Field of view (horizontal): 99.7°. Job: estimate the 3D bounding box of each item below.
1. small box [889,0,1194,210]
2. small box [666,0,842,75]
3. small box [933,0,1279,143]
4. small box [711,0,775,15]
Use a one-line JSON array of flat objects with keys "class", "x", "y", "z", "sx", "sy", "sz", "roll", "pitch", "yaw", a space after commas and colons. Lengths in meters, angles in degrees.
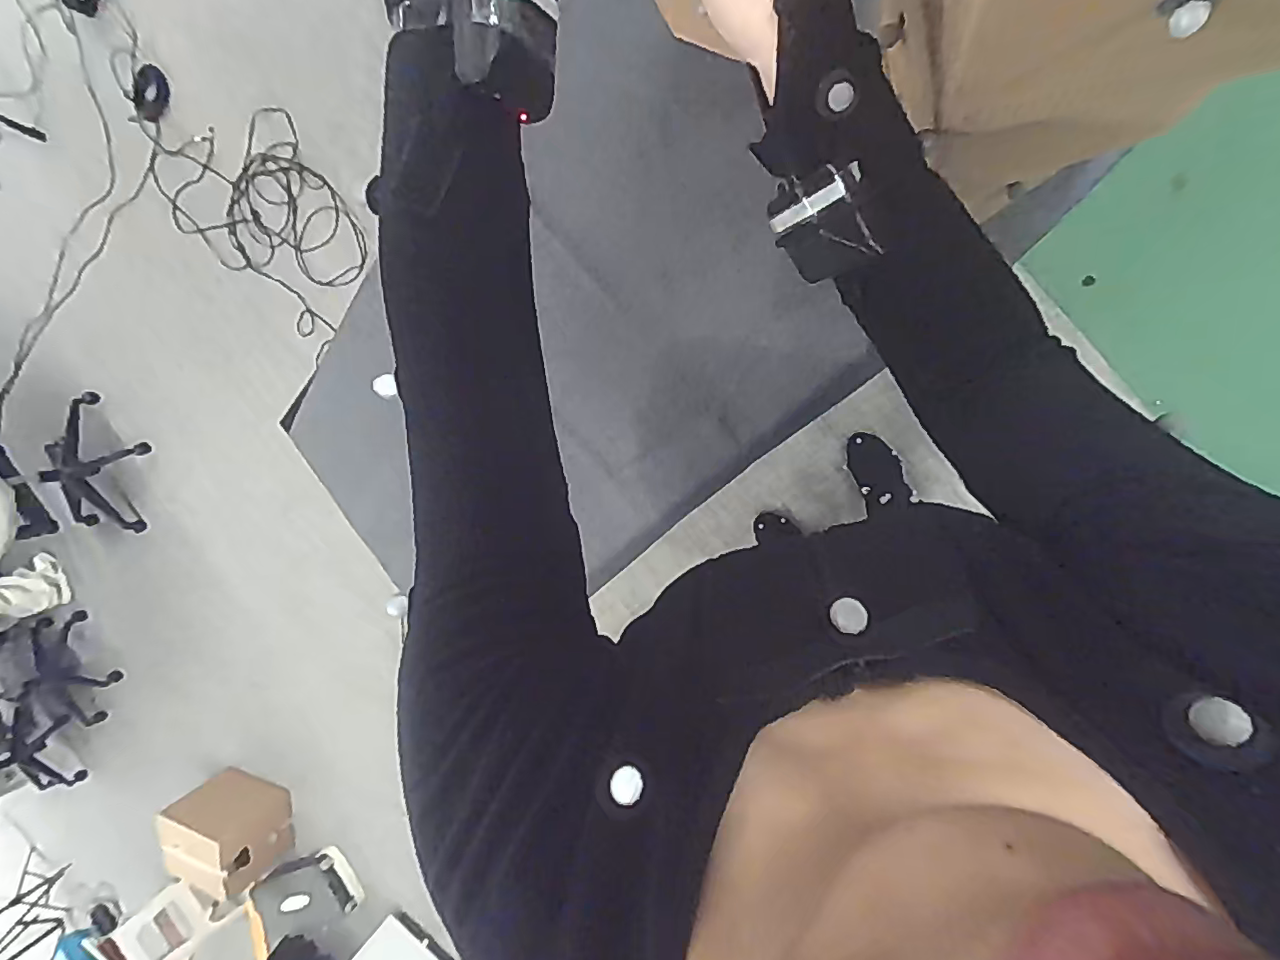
[{"class": "small box", "x": 0.273, "y": -0.312, "z": 0.363, "sx": 0.179, "sy": 0.176, "sz": 0.168, "roll": -11, "pitch": 94, "yaw": 22}, {"class": "small box", "x": 0.123, "y": -0.558, "z": 0.551, "sx": 0.179, "sy": 0.176, "sz": 0.168, "roll": 30, "pitch": 113, "yaw": 11}, {"class": "small box", "x": 0.226, "y": -0.267, "z": 0.210, "sx": 0.179, "sy": 0.176, "sz": 0.168, "roll": 0, "pitch": 98, "yaw": 22}, {"class": "small box", "x": 0.054, "y": -0.510, "z": 0.408, "sx": 0.179, "sy": 0.176, "sz": 0.168, "roll": 37, "pitch": 115, "yaw": 9}]
